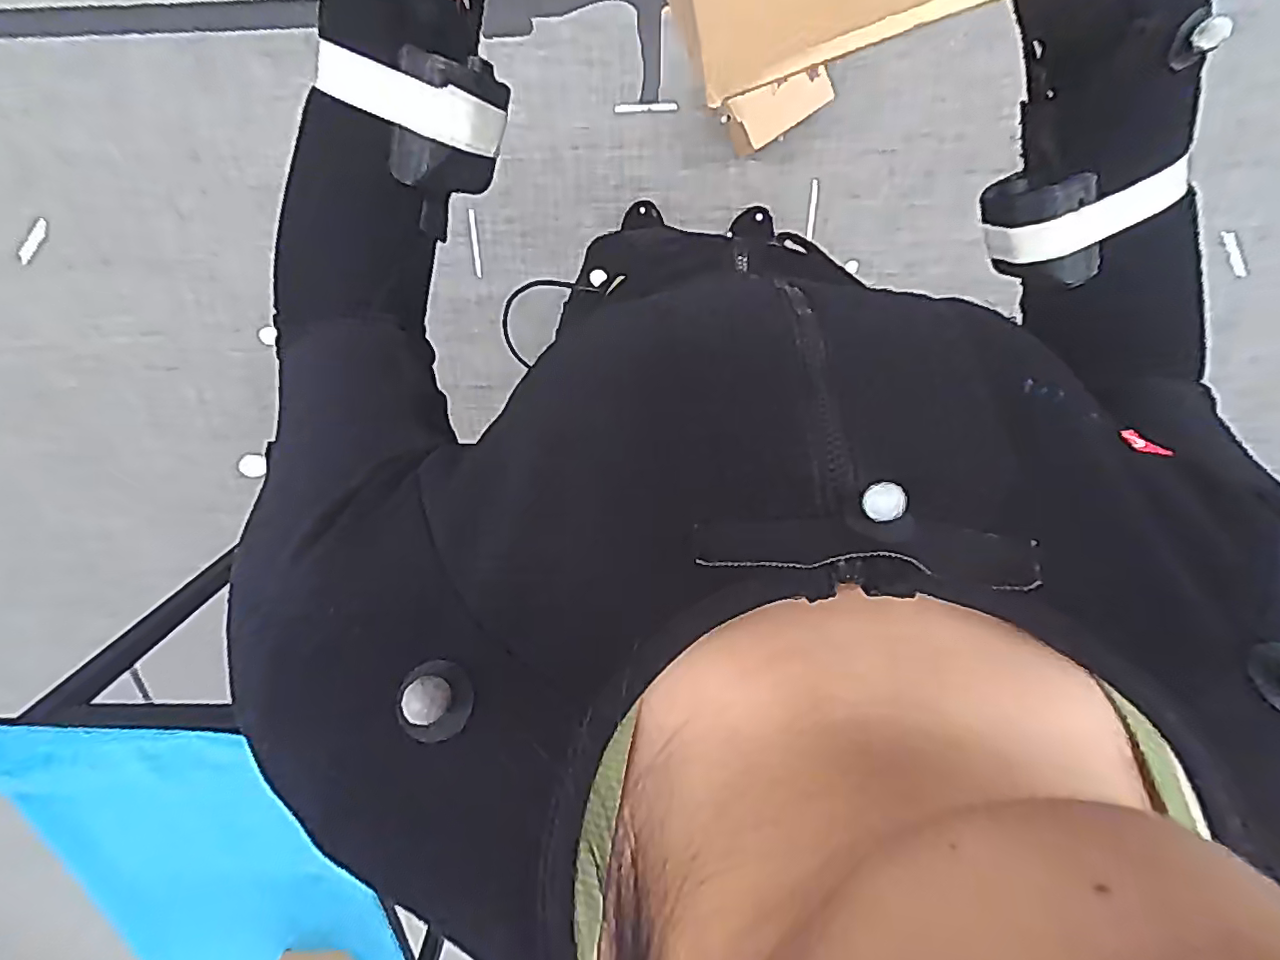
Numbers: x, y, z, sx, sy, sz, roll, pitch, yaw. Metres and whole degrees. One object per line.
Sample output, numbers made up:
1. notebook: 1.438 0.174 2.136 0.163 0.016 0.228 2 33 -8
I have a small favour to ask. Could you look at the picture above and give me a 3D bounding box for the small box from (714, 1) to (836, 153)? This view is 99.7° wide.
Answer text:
1. small box: 0.262 -0.796 1.094 0.179 0.176 0.168 -31 112 15
